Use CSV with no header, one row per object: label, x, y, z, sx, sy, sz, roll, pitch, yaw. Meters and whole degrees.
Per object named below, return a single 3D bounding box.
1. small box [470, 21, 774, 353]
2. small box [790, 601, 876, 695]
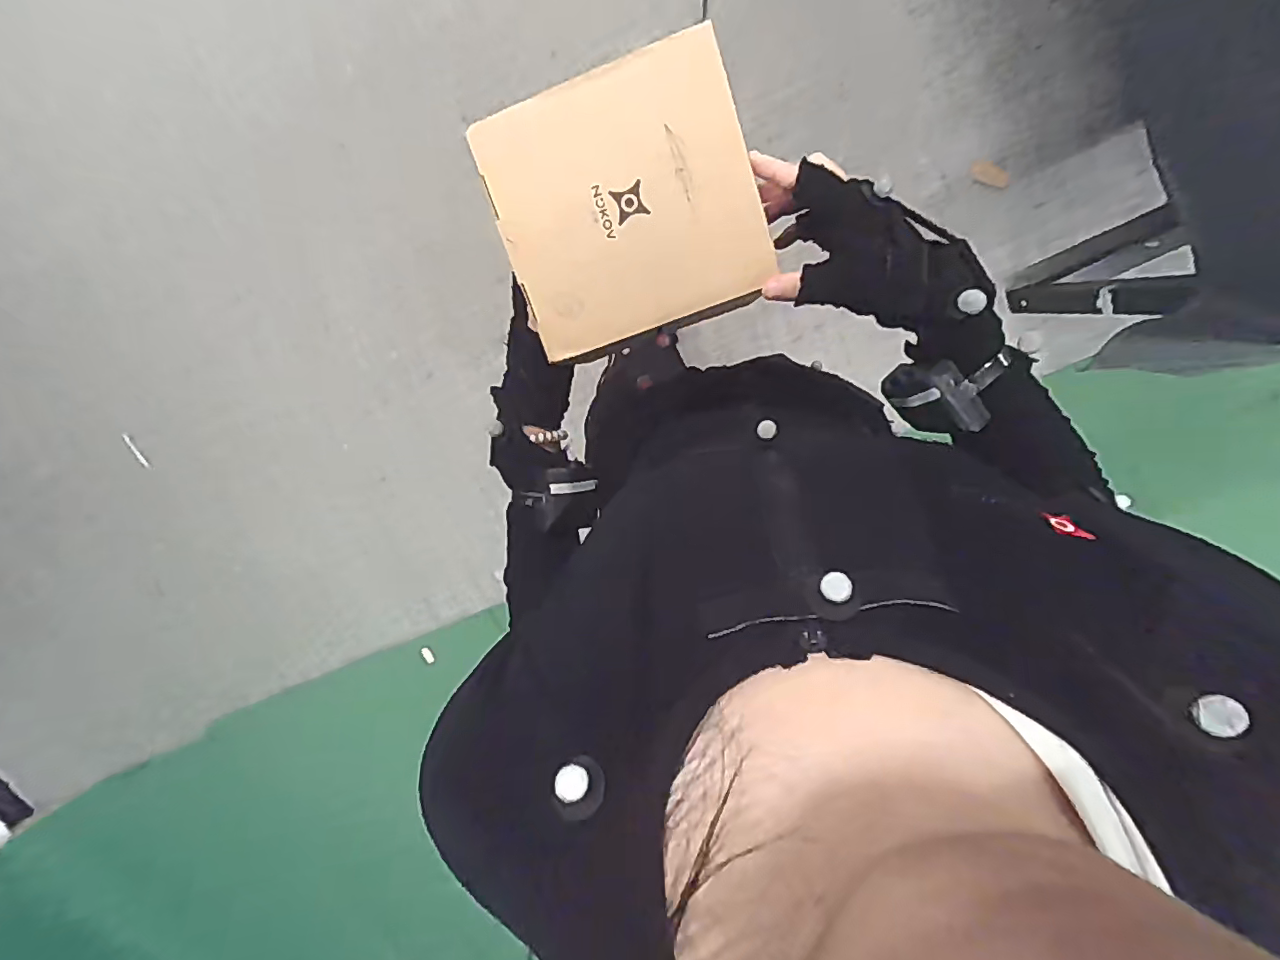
small box,-0.004,-0.207,0.444,0.179,0.176,0.168,-16,100,8
small box,0.539,0.474,1.541,0.179,0.176,0.168,-21,105,9
